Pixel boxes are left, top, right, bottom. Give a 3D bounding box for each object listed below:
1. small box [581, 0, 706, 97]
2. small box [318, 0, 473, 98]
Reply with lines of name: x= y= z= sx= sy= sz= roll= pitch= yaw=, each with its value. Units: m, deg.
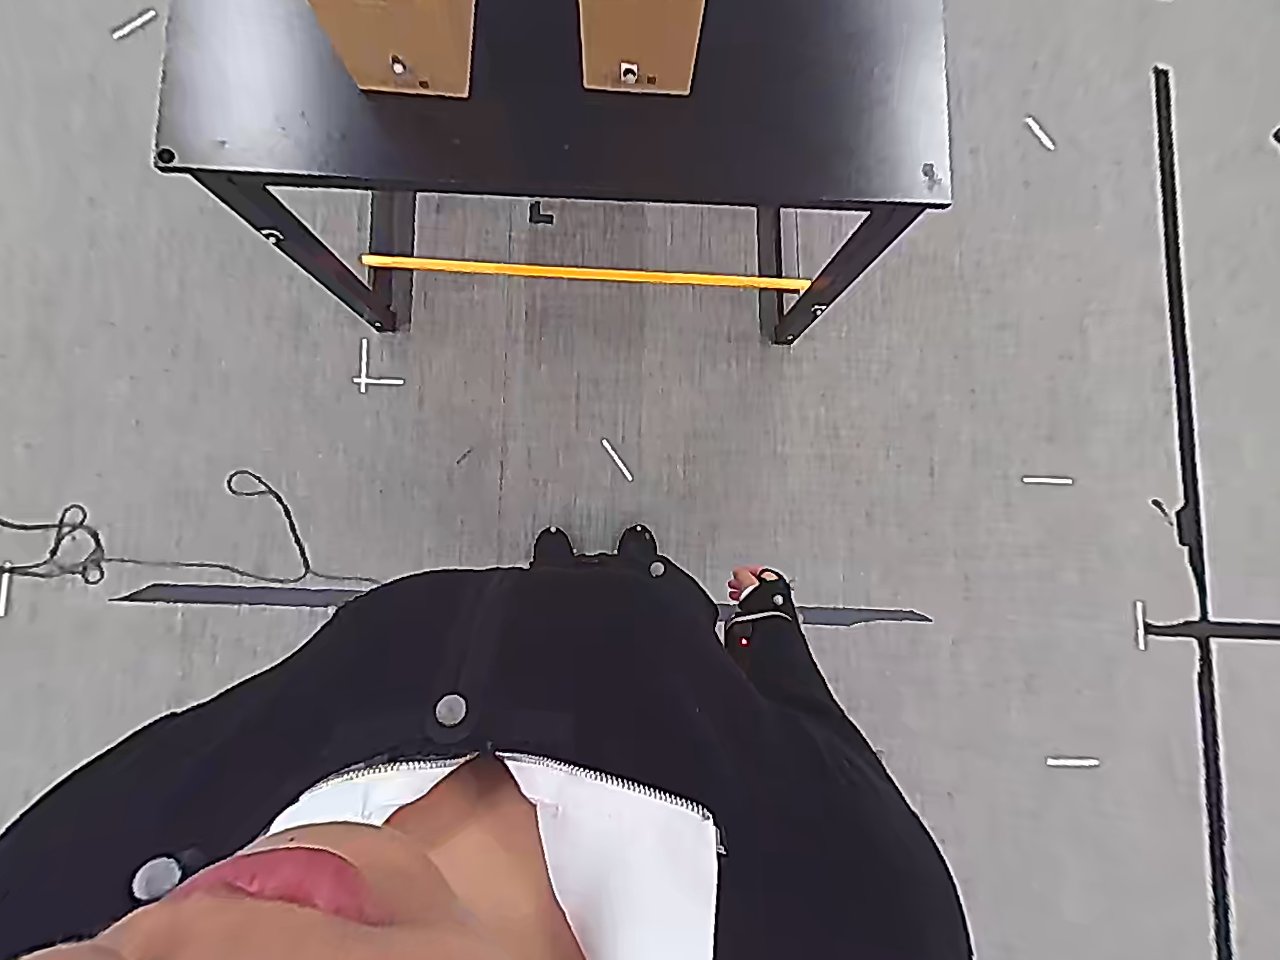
small box: x=0.001 y=-0.696 z=0.772 sx=0.168 sy=0.176 sz=0.179 roll=0 pitch=86 yaw=-2
small box: x=-0.335 y=-0.681 z=0.748 sx=0.168 sy=0.176 sz=0.179 roll=3 pitch=85 yaw=-3
